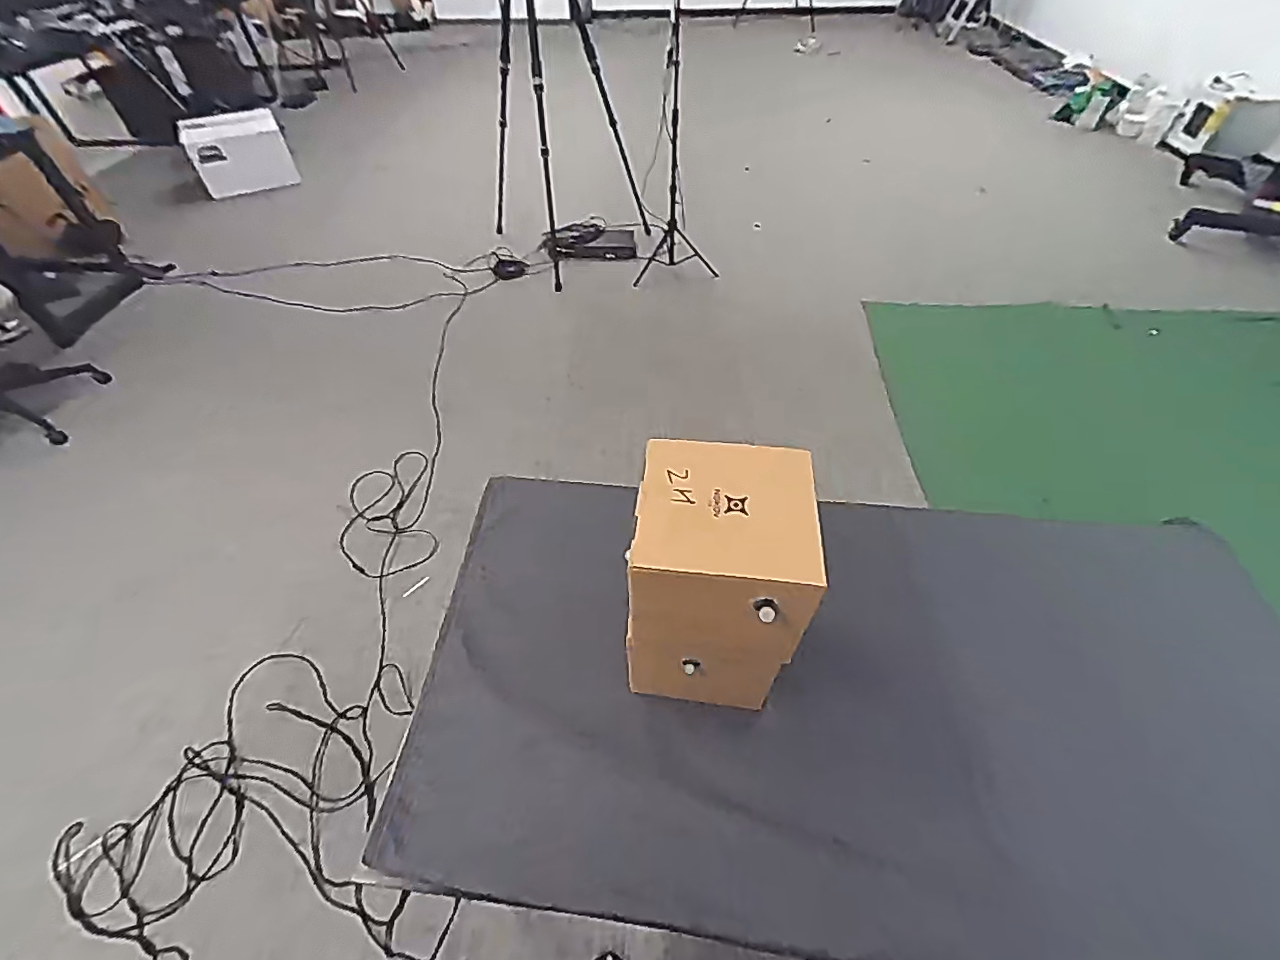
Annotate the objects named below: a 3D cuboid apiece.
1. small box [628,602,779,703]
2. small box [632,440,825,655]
[{"bbox_3d":[0.082,0.182,0.725,0.179,0.176,0.168,7,49,5],"label":"small box"},{"bbox_3d":[0.088,0.078,0.597,0.179,0.176,0.168,5,48,4],"label":"small box"}]
